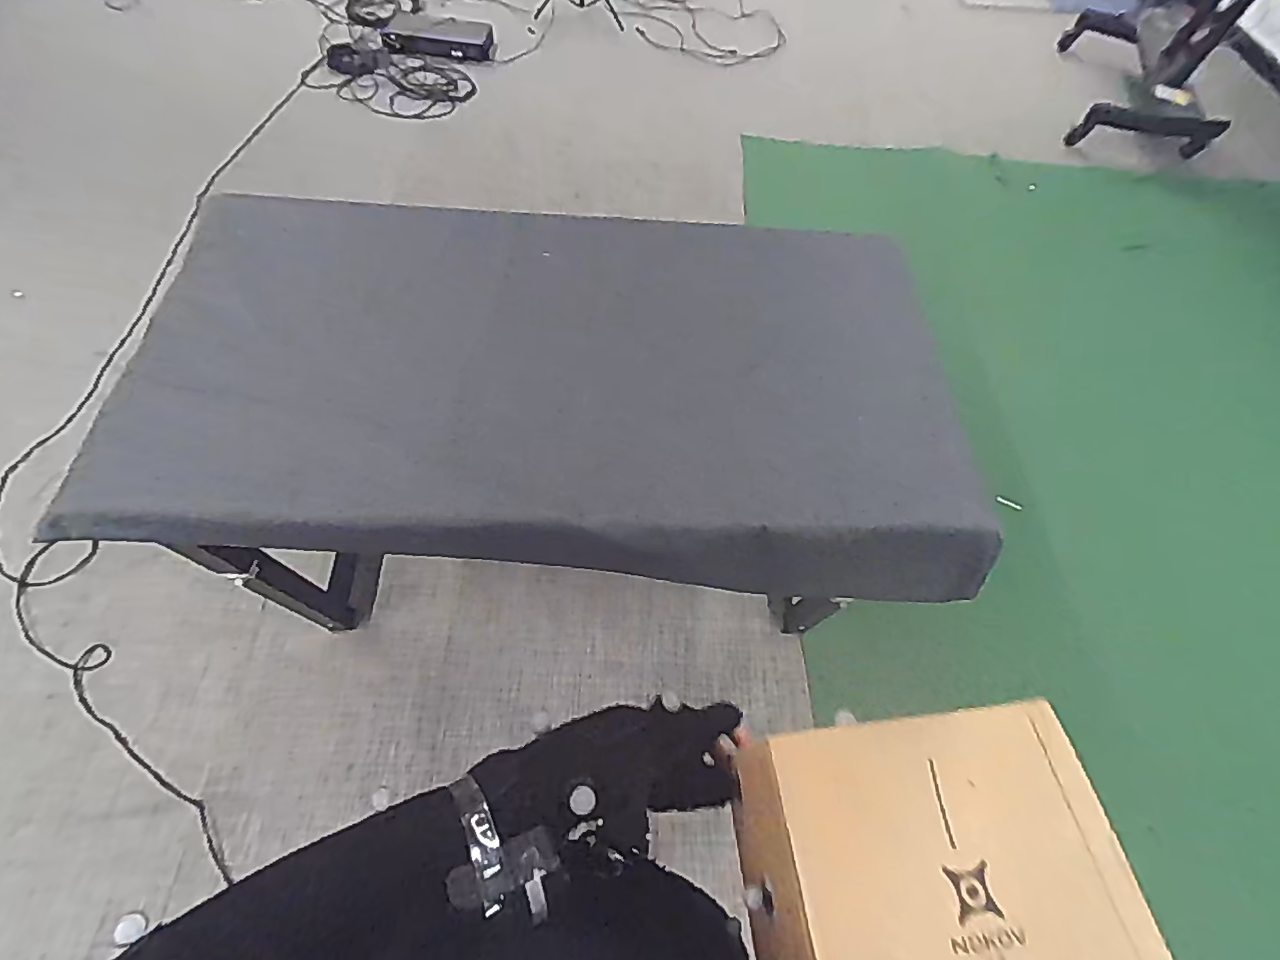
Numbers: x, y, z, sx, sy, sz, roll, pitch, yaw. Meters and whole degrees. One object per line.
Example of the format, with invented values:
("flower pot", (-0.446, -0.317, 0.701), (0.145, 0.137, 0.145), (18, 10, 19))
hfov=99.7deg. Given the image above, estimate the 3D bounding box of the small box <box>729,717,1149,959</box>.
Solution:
("small box", (0.158, 0.256, 0.333), (0.168, 0.176, 0.179), (-4, 58, -3))
